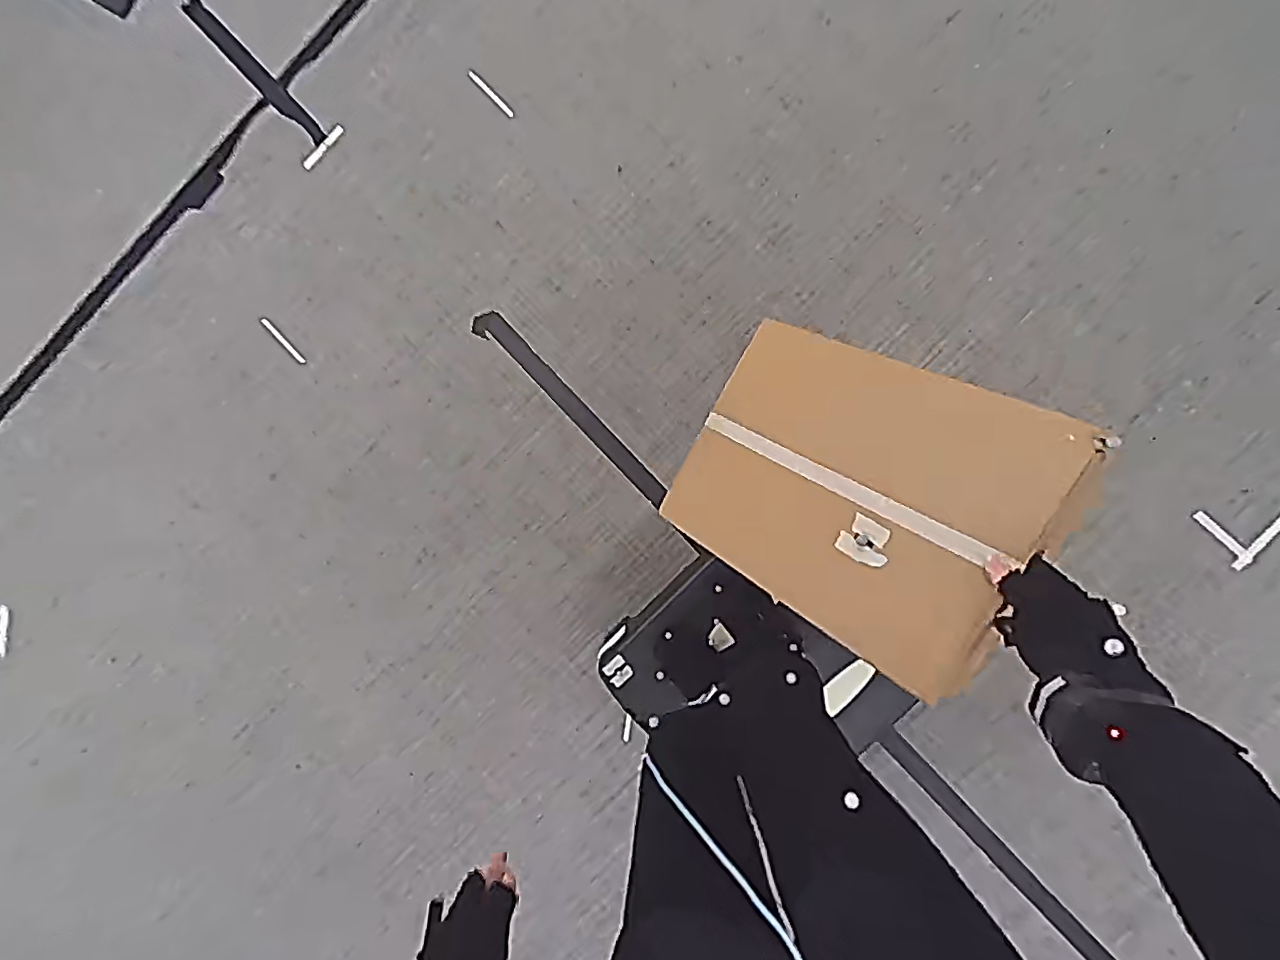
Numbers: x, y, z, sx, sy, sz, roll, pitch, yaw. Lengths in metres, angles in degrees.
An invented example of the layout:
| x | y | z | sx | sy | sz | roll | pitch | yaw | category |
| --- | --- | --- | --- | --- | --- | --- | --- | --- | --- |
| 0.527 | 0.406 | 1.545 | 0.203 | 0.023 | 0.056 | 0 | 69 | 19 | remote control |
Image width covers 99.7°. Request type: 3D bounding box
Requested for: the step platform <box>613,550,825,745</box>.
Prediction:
| x | y | z | sx | sy | sz | roll | pitch | yaw | category |
| --- | --- | --- | --- | --- | --- | --- | --- | --- | --- |
| 0.255 | 0.243 | 1.200 | 0.286 | 0.204 | 0.684 | 44 | 92 | 3 | step platform |

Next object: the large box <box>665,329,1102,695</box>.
| x | y | z | sx | sy | sz | roll | pitch | yaw | category |
| --- | --- | --- | --- | --- | --- | --- | --- | --- | --- |
| 0.322 | 0.036 | 0.771 | 0.408 | 0.320 | 0.320 | 34 | 99 | 36 | large box |
